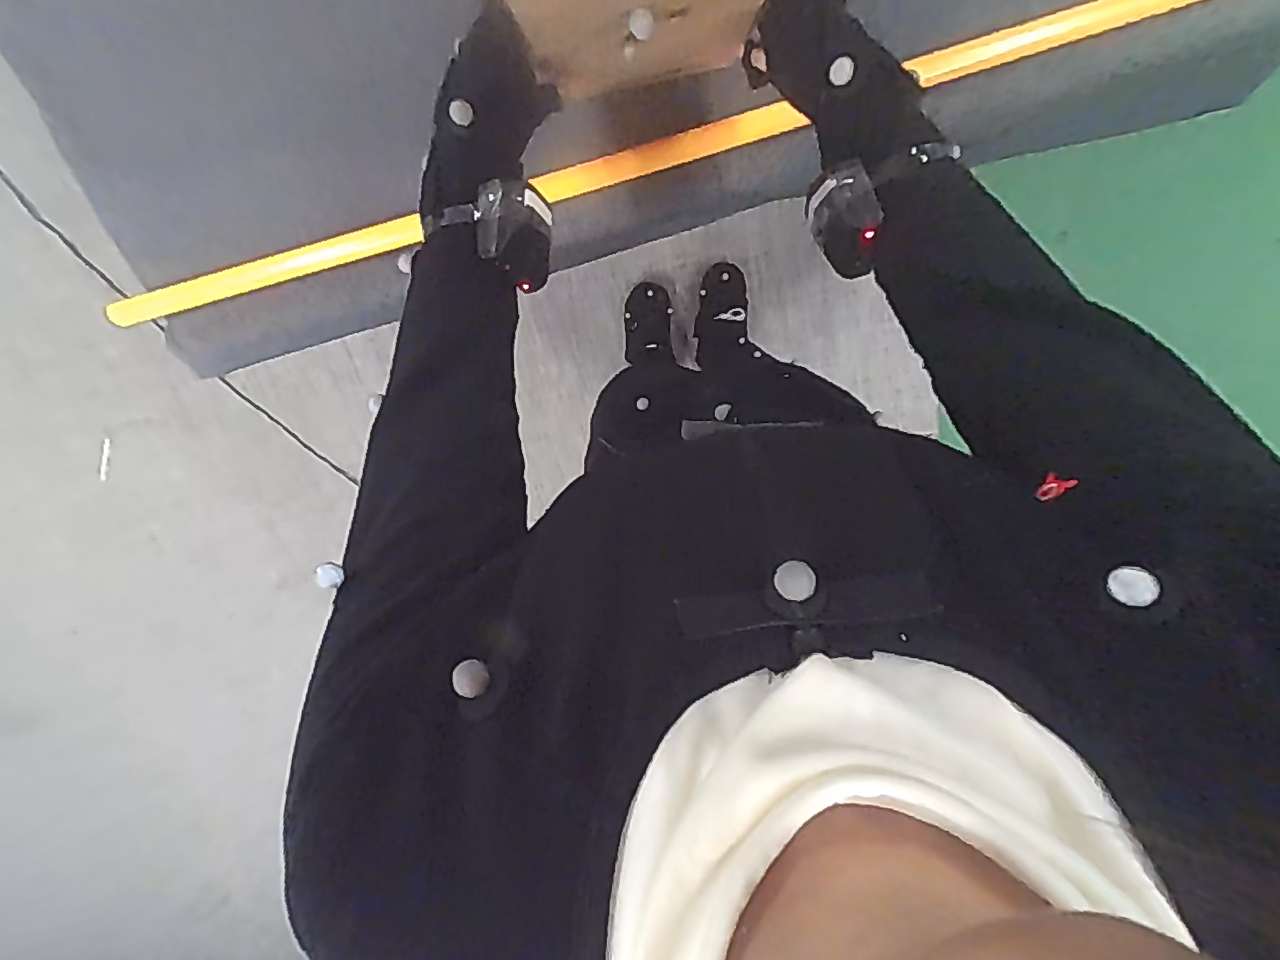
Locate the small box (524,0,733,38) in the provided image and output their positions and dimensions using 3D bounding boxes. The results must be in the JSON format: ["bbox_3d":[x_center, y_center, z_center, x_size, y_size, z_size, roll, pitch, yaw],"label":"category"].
[{"bbox_3d":[-0.011,-0.371,0.274,0.168,0.176,0.179,-9,115,5],"label":"small box"}]

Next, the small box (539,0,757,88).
[{"bbox_3d":[-0.006,-0.444,0.422,0.168,0.176,0.179,-9,114,6],"label":"small box"}]
